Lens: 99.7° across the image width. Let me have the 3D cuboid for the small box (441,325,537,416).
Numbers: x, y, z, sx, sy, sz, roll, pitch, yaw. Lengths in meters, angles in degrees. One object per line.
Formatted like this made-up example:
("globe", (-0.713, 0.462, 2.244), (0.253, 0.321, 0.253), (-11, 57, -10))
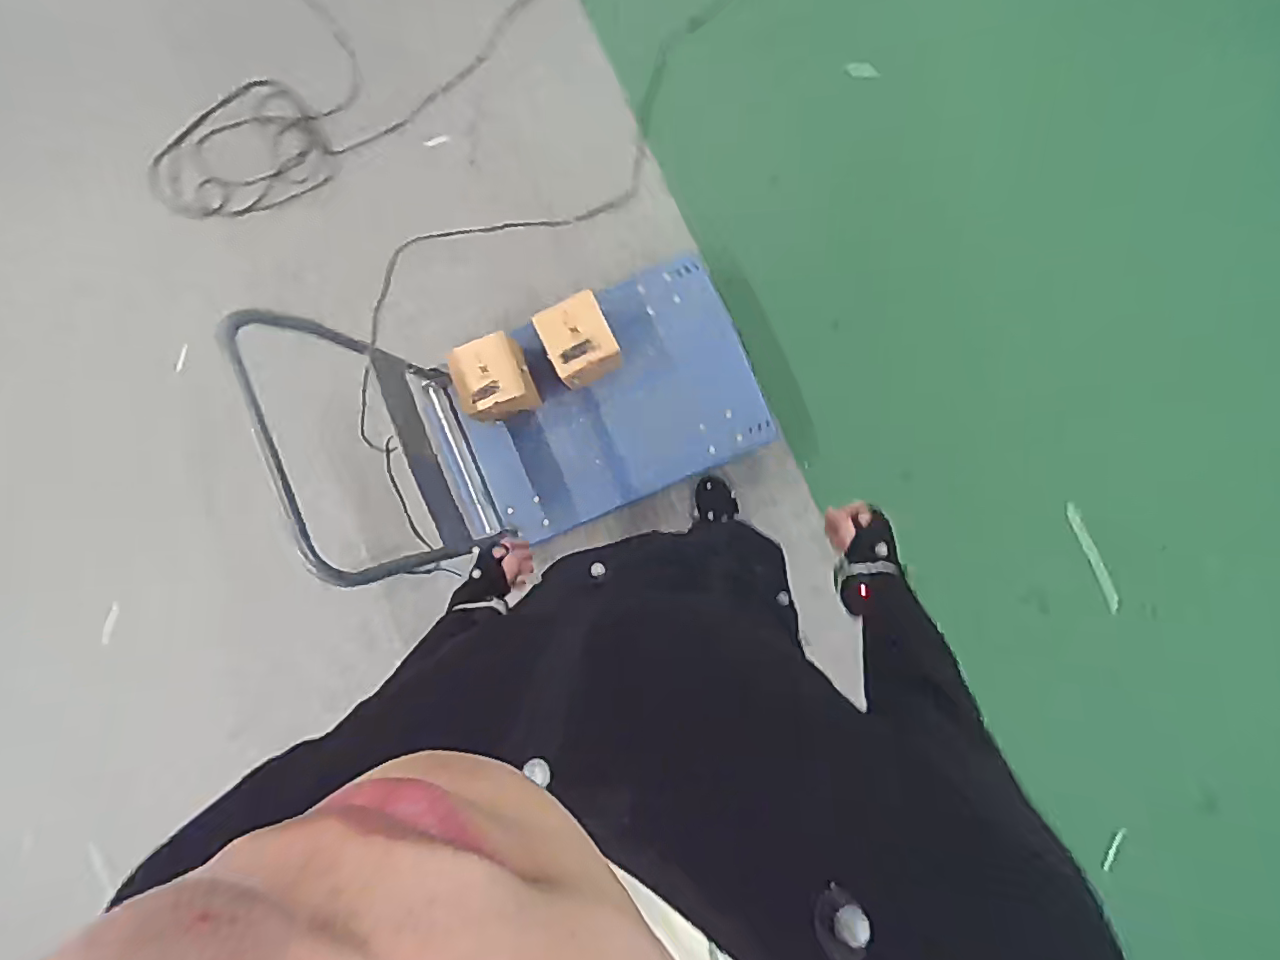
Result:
("small box", (-0.387, -0.276, 1.418), (0.168, 0.176, 0.179), (-21, 86, 2))
